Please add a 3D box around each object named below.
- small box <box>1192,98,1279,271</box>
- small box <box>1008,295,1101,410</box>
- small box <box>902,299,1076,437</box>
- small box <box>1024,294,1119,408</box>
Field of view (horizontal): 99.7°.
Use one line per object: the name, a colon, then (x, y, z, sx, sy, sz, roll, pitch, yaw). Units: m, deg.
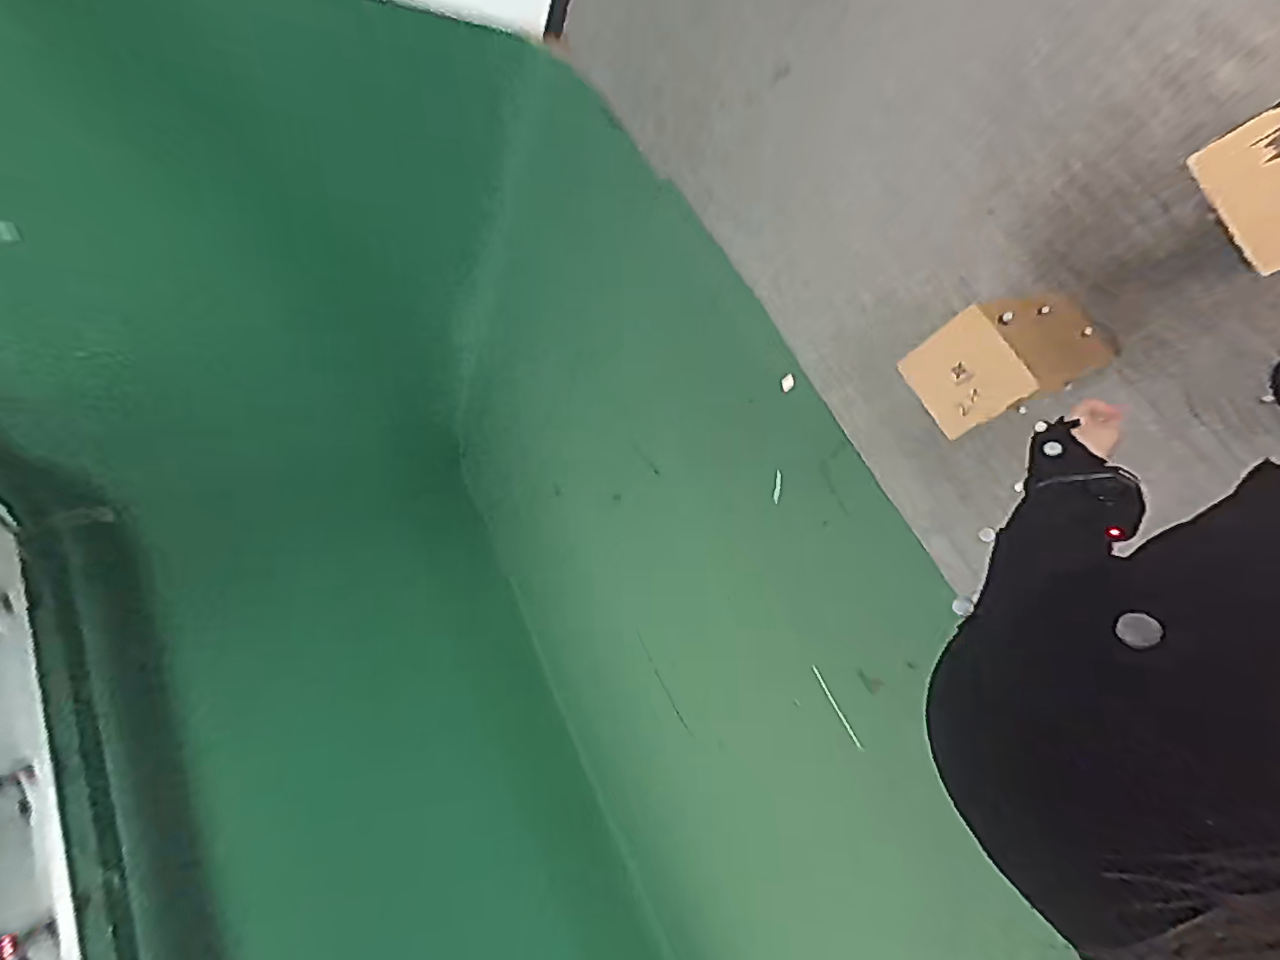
small box: (0.813, -0.370, 0.638, 0.168, 0.176, 0.179, -35, 77, 53)
small box: (0.747, -0.242, 1.064, 0.179, 0.176, 0.168, 61, 144, 15)
small box: (0.620, -0.202, 0.967, 0.179, 0.176, 0.168, 62, 145, 16)
small box: (0.873, -0.280, 1.160, 0.168, 0.176, 0.179, -43, 69, 52)
